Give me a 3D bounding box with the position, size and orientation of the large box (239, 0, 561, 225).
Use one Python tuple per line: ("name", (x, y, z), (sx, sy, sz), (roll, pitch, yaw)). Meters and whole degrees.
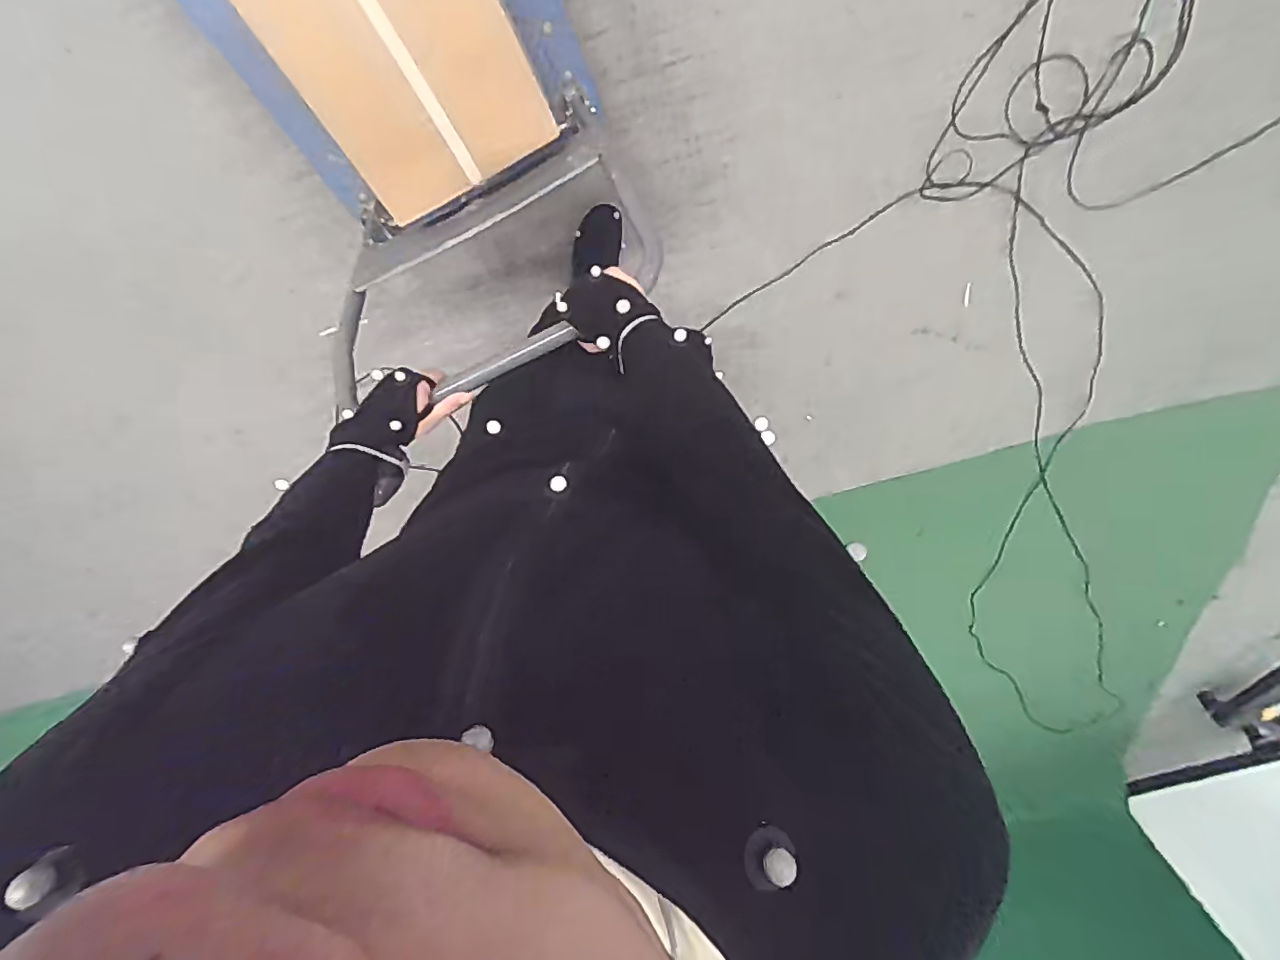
("large box", (-0.366, -0.719, 0.884), (0.320, 0.320, 0.408), (-24, 133, 9))
